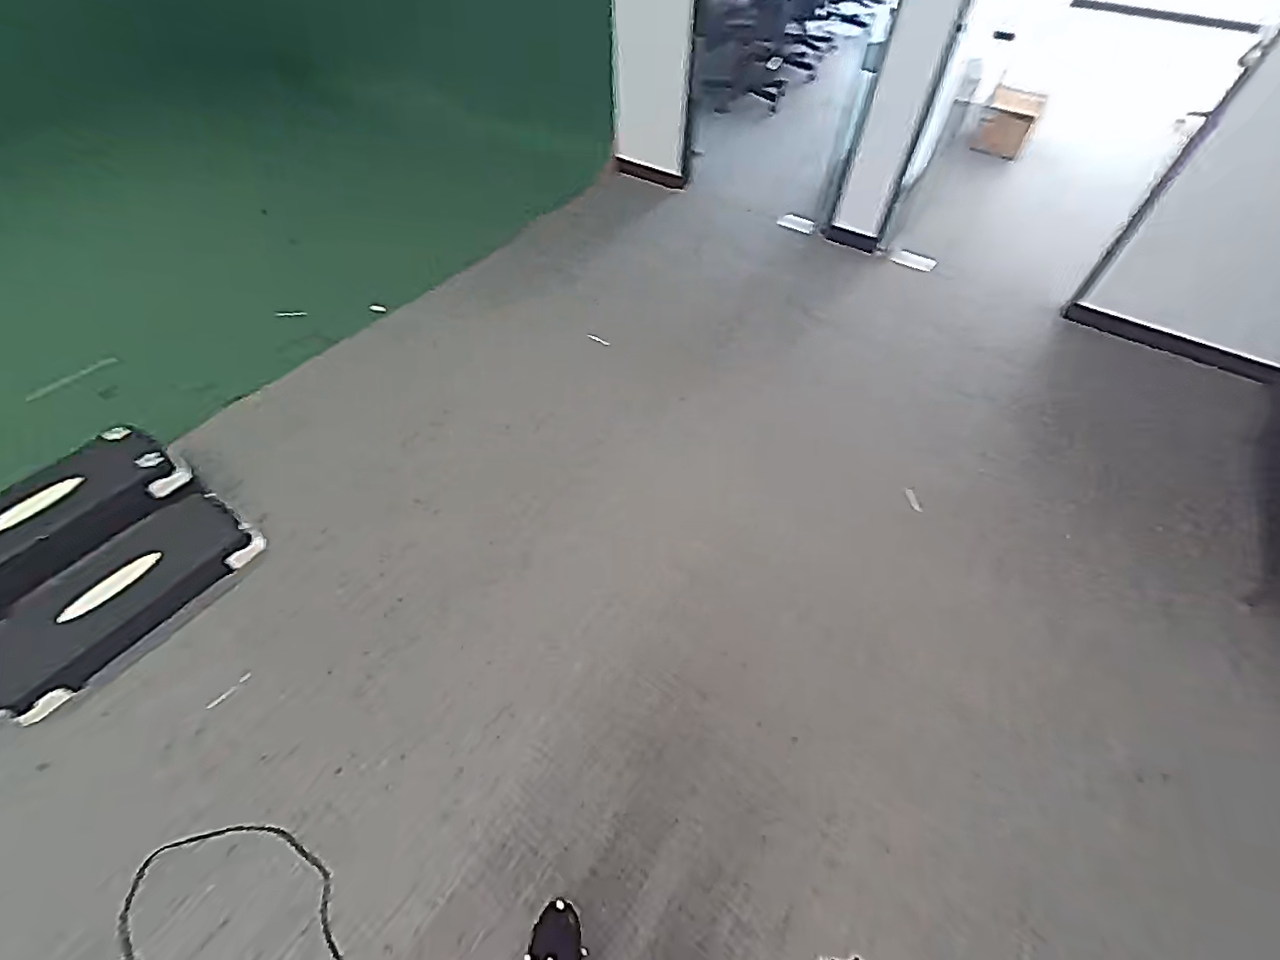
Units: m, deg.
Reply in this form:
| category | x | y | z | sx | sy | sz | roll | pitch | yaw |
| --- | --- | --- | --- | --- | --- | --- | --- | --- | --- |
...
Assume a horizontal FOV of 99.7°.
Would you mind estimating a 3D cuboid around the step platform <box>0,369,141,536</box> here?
| category | x | y | z | sx | sy | sz | roll | pitch | yaw |
| --- | --- | --- | --- | --- | --- | --- | --- | --- | --- |
| step platform | -1.781 | -0.002 | 1.444 | 0.286 | 0.204 | 0.684 | 30 | 58 | 19 |
